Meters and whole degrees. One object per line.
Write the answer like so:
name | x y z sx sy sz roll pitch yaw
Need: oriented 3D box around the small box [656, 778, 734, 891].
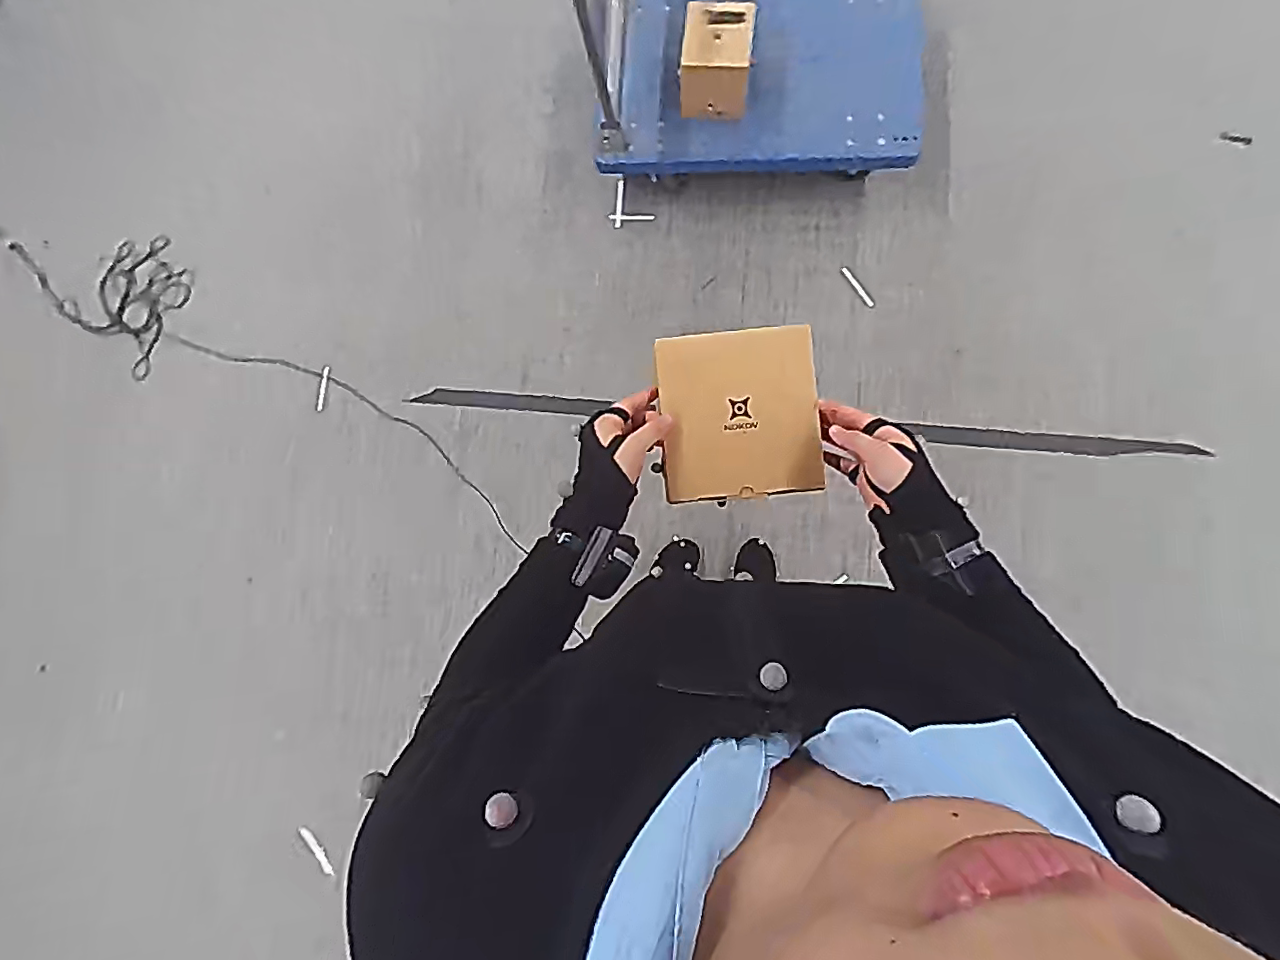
small box | 0.135 0.868 1.336 0.168 0.176 0.179 -7 82 4
